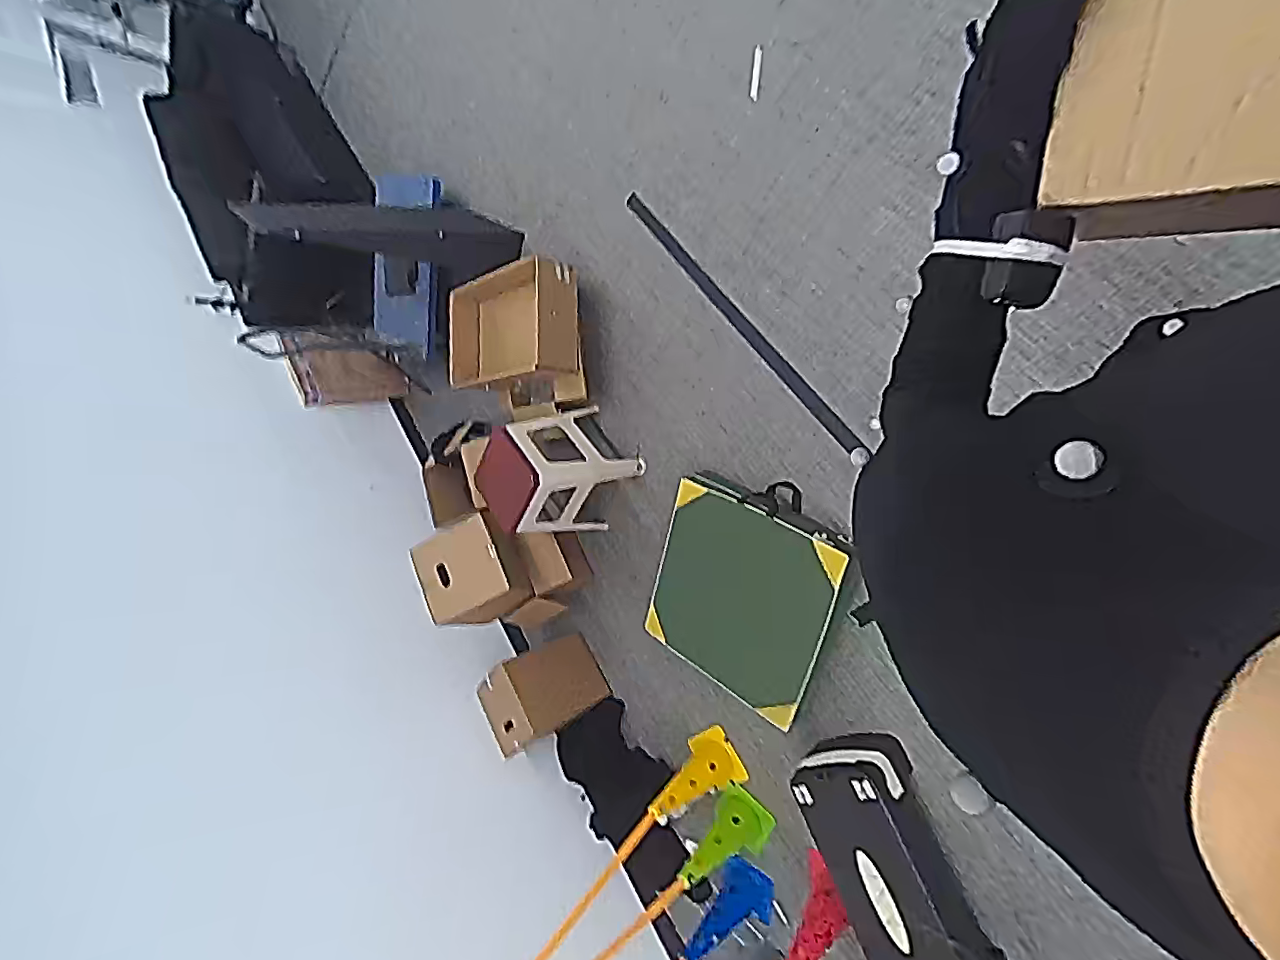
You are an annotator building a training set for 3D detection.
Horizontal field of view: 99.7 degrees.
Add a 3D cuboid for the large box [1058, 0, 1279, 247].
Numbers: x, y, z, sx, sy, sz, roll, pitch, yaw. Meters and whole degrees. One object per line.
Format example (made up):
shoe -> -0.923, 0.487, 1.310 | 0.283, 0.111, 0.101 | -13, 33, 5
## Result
large box -> 0.552, -0.340, 0.340 | 0.408, 0.320, 0.320 | 15, 114, 39
